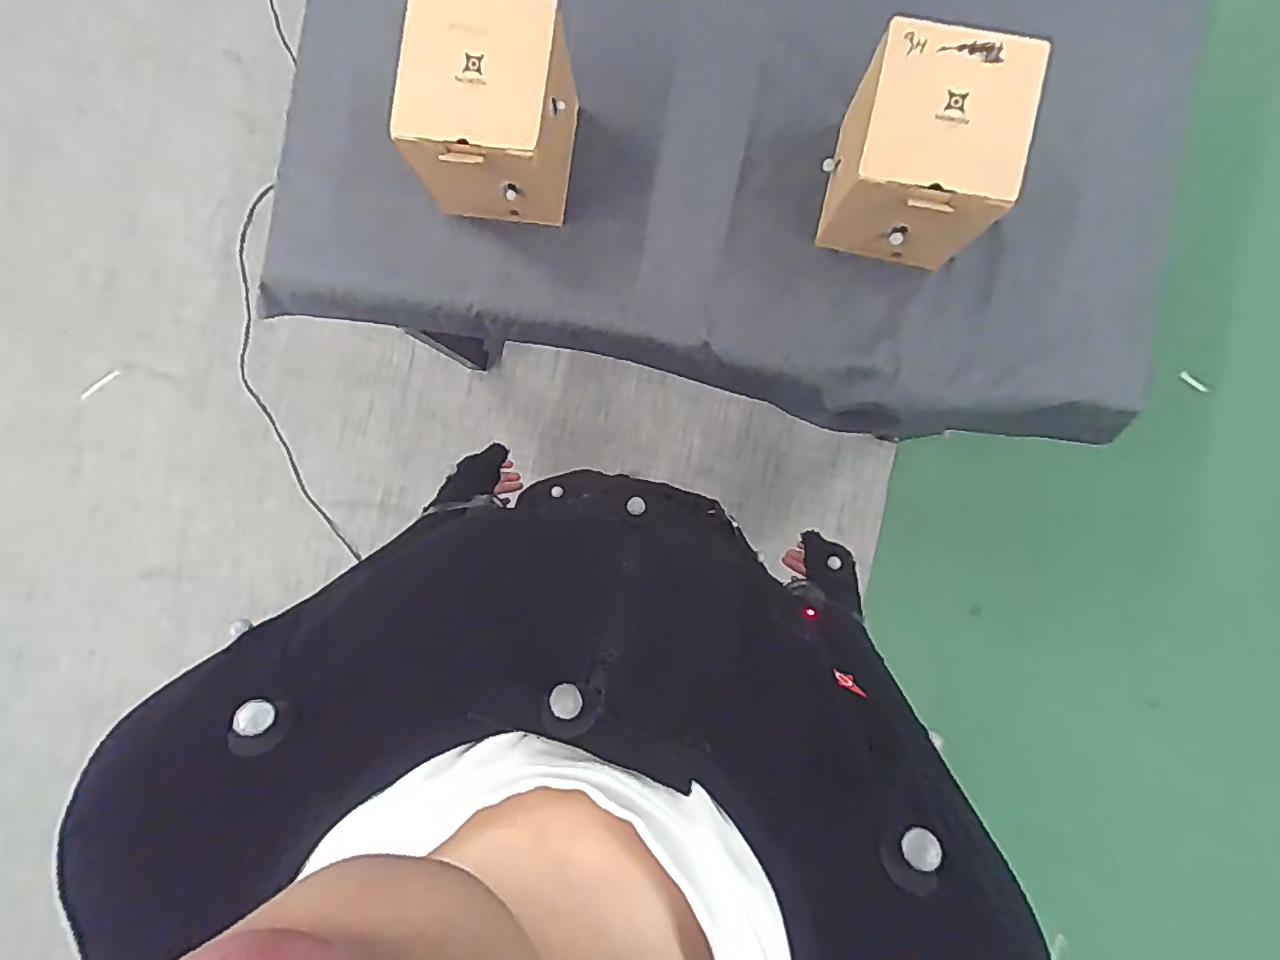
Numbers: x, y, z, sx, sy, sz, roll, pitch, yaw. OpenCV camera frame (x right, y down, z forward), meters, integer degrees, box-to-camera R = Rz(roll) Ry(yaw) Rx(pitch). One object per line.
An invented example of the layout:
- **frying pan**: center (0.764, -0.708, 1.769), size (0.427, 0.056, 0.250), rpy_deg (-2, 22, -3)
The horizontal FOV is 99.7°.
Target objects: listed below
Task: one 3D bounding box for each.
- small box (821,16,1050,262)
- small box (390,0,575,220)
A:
- **small box**: center (0.328, -0.384, 0.642), size (0.168, 0.176, 0.179), rpy_deg (13, 91, 3)
- **small box**: center (-0.179, -0.449, 0.665), size (0.168, 0.176, 0.179), rpy_deg (8, 88, 1)
